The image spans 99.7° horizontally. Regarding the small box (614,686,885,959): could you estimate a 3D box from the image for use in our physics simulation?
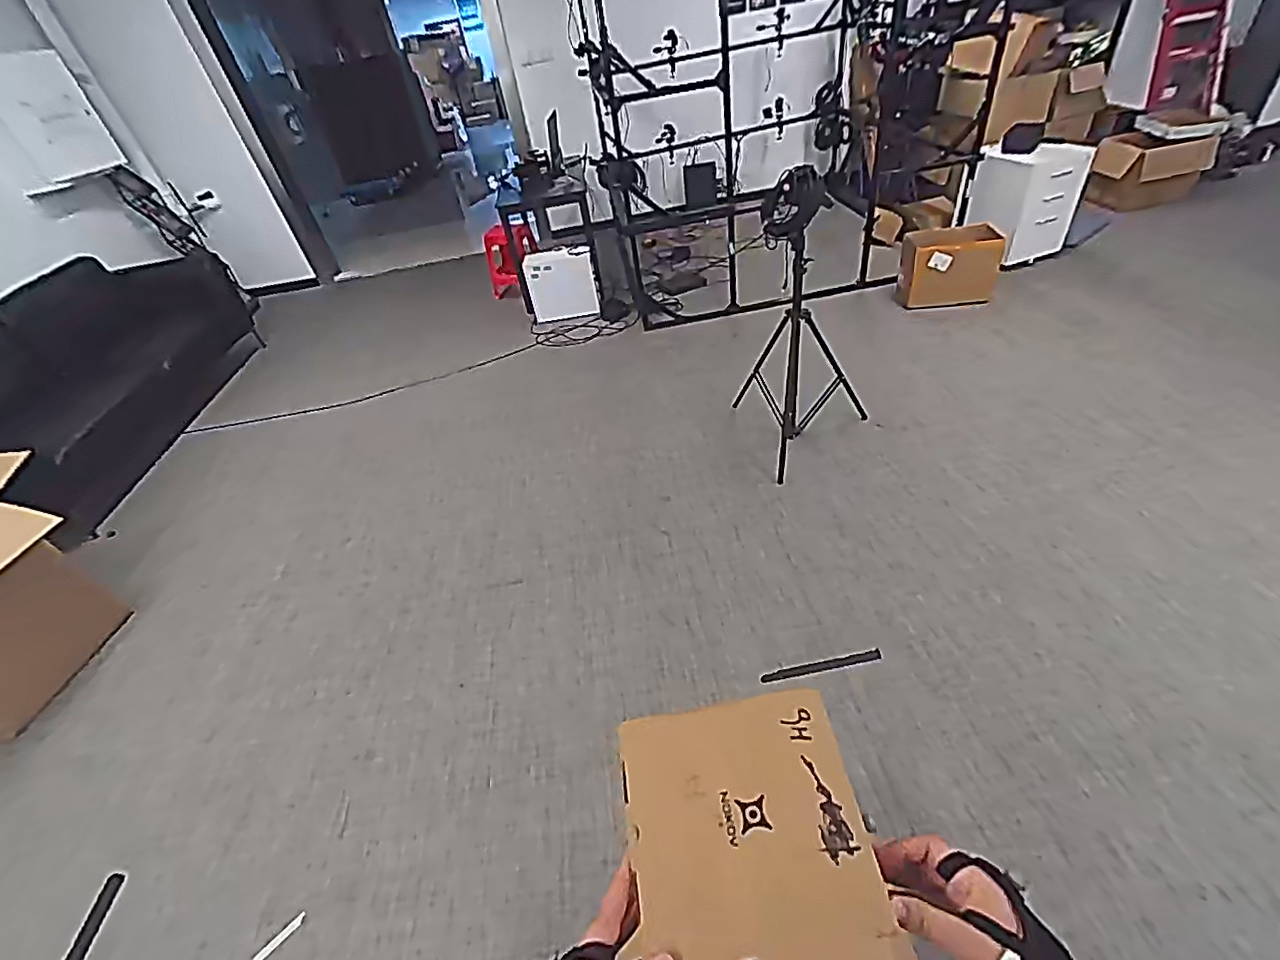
[{"bbox_3d":[0.082,0.303,0.477,0.179,0.176,0.168,-10,51,0],"label":"small box"}]
